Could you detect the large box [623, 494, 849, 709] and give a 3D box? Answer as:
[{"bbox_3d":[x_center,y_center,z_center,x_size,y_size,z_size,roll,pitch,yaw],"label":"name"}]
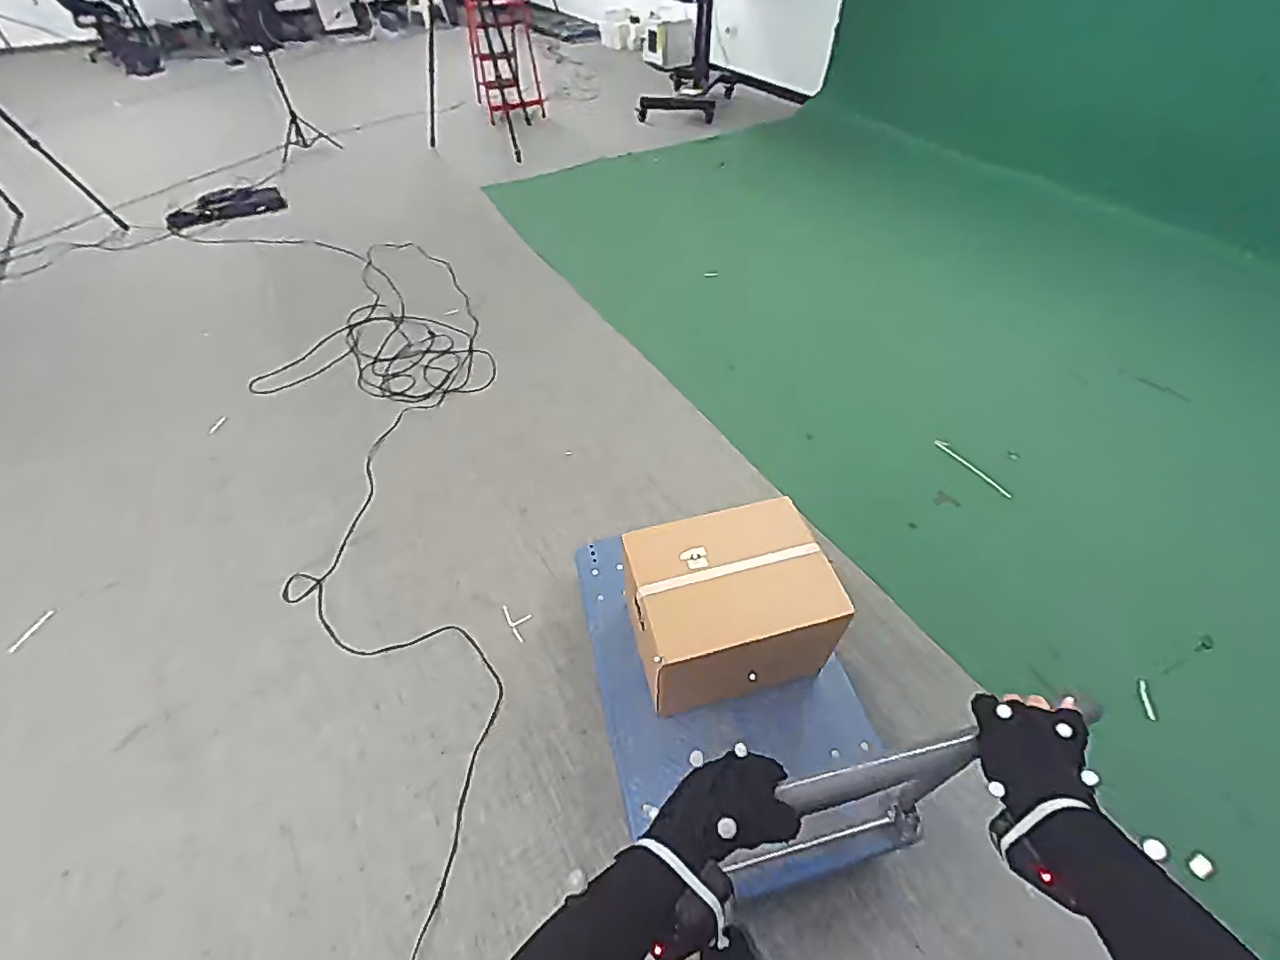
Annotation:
[{"bbox_3d":[0.196,0.283,1.256,0.408,0.320,0.320,-13,50,-9],"label":"large box"}]
